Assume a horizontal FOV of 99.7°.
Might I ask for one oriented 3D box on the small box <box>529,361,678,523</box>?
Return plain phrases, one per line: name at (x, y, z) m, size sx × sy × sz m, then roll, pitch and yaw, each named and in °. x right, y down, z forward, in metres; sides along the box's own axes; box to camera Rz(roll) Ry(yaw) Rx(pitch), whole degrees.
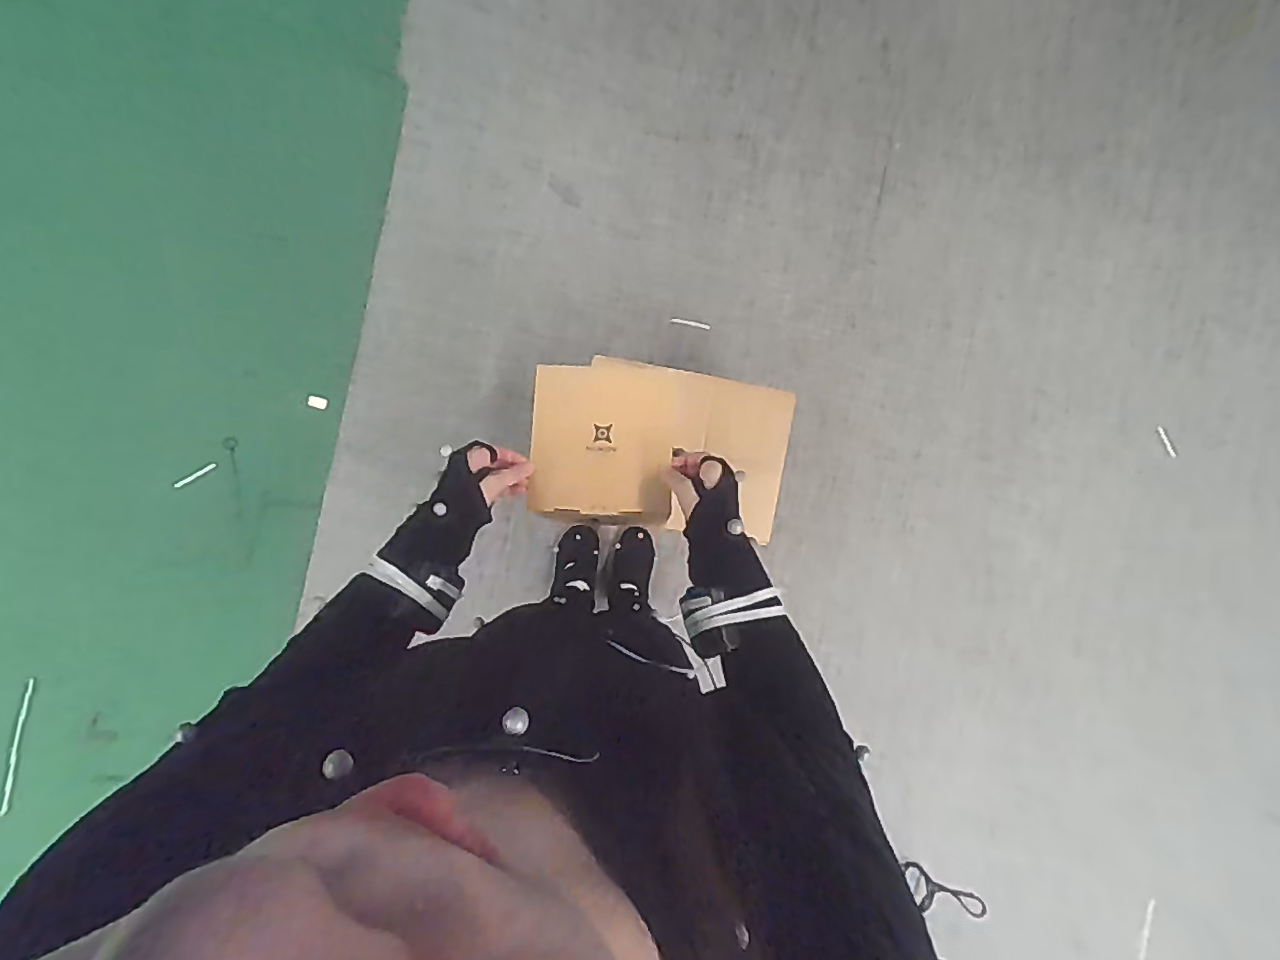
small box at (-0.040, -0.040, 0.701) m, size 0.168 × 0.176 × 0.179 m, roll 2°, pitch 82°, yaw 2°
